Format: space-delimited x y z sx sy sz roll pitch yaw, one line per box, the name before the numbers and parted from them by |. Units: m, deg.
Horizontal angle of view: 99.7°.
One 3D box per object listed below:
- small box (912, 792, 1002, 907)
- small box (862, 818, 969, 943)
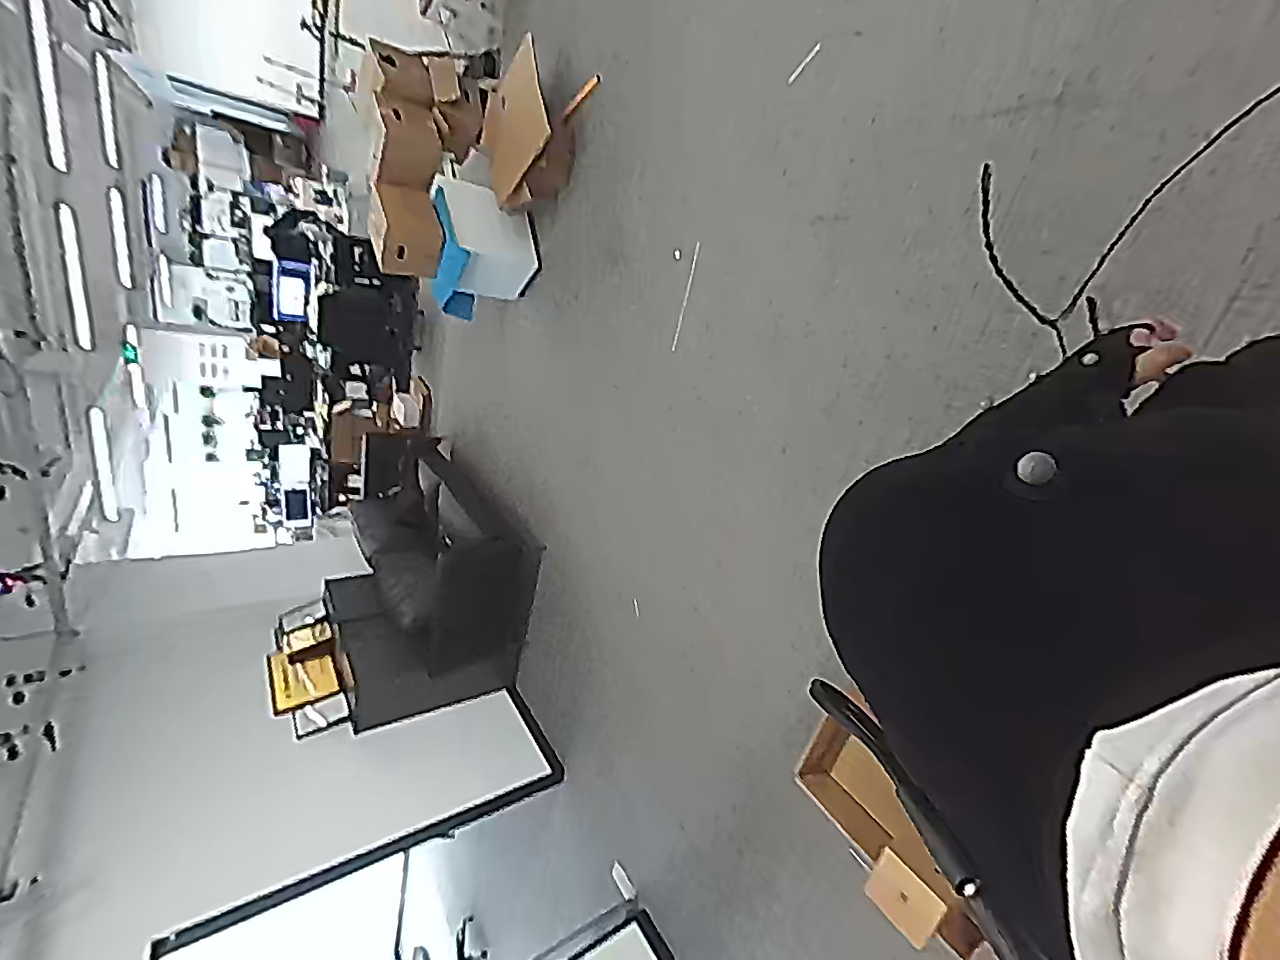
small box | 0.858 1.016 1.502 0.179 0.176 0.168 40 123 47
small box | 0.724 1.034 1.412 0.168 0.176 0.179 36 120 46
